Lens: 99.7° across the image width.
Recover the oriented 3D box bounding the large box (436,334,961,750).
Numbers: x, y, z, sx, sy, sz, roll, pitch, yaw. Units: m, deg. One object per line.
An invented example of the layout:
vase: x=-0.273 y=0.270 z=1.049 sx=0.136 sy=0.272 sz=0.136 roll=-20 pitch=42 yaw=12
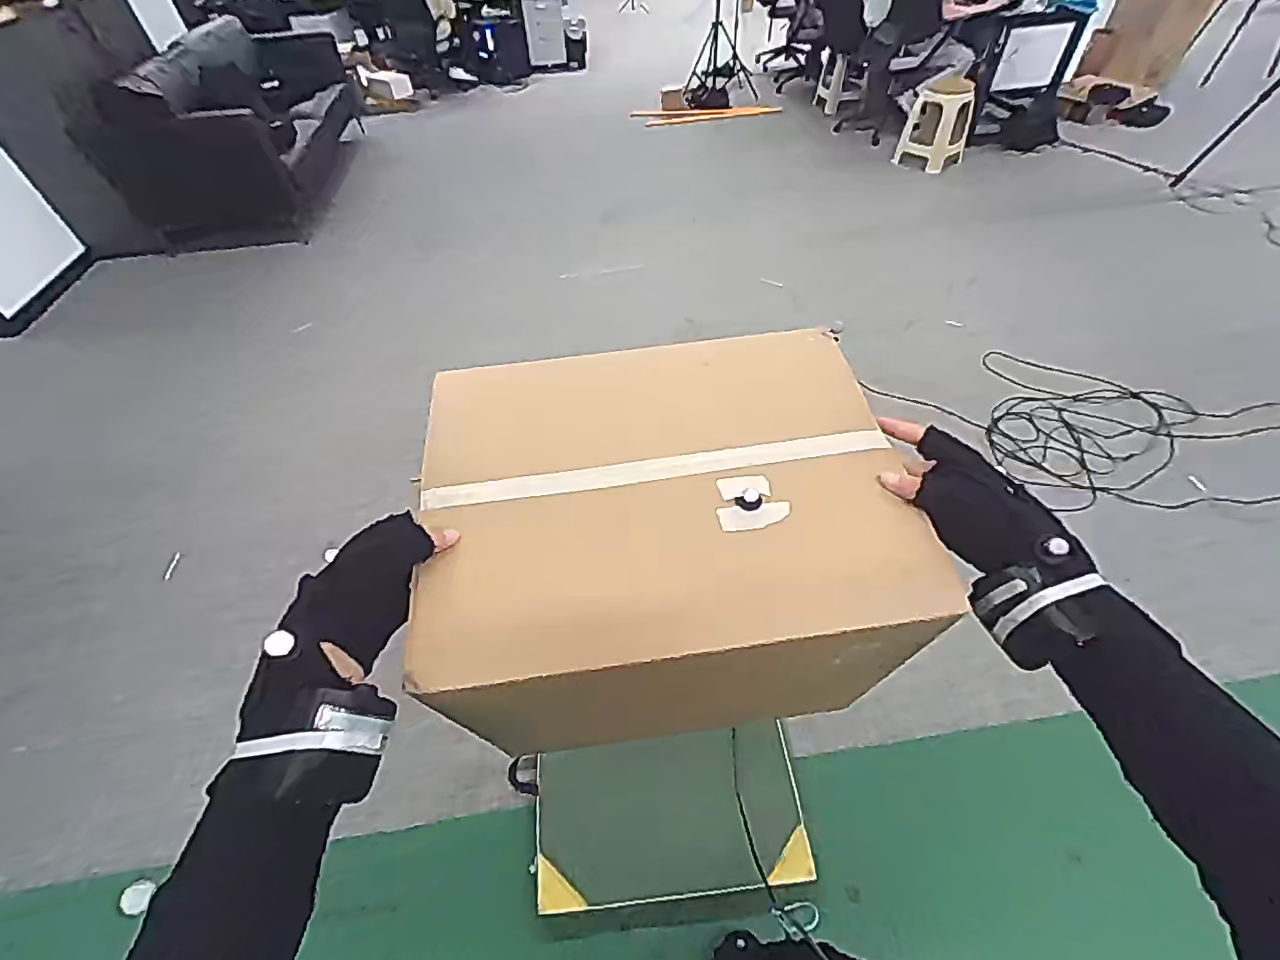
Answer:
large box: x=0.029 y=0.078 z=0.599 sx=0.408 sy=0.320 sz=0.320 roll=-7 pitch=56 yaw=-4
